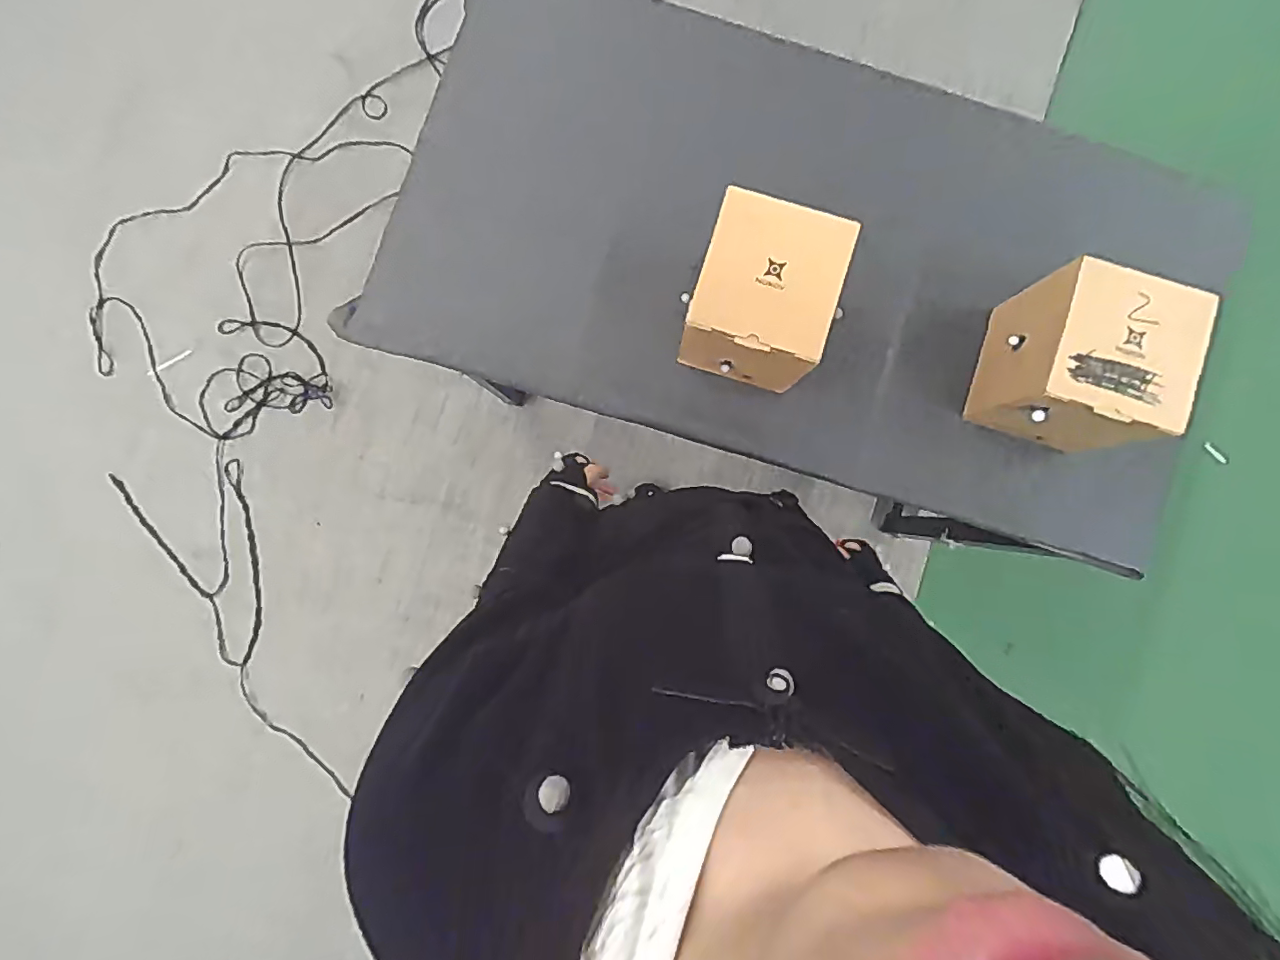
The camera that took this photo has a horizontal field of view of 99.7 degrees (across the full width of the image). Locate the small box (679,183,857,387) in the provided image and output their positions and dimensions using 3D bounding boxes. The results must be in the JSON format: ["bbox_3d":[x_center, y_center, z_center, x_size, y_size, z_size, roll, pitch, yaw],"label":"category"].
[{"bbox_3d":[0.154,-0.241,0.711,0.168,0.176,0.179,17,88,0],"label":"small box"}]
